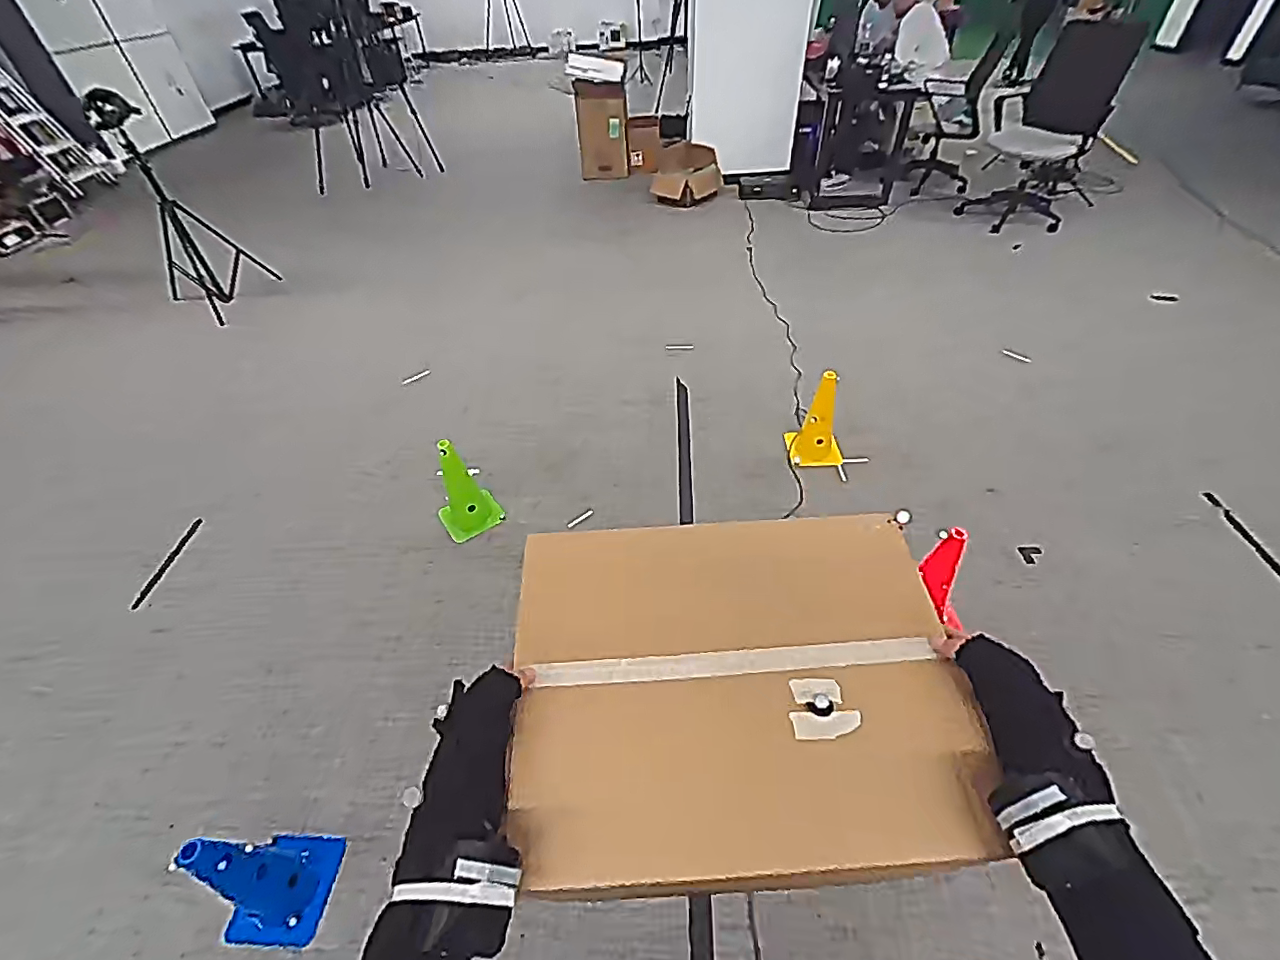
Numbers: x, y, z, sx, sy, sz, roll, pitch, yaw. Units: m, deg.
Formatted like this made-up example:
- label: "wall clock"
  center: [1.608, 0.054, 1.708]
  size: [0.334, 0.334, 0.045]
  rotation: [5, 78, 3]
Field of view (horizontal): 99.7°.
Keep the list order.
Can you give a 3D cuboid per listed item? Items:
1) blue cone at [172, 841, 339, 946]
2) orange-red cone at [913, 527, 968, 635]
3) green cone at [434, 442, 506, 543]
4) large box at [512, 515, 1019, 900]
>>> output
- label: "blue cone"
  center: [-0.808, 0.815, 1.110]
  size: [0.192, 0.380, 0.193]
  rotation: [0, 45, 6]
- label: "orange-red cone"
  center: [0.841, 0.261, 1.530]
  size: [0.198, 0.360, 0.199]
  rotation: [-2, 43, 0]
- label: "green cone"
  center: [-0.634, 0.010, 1.886]
  size: [0.202, 0.368, 0.200]
  rotation: [-30, 50, -22]
- label: "large box"
  center: [0.090, 0.264, 0.619]
  size: [0.408, 0.320, 0.320]
  rotation: [-3, 51, -1]
